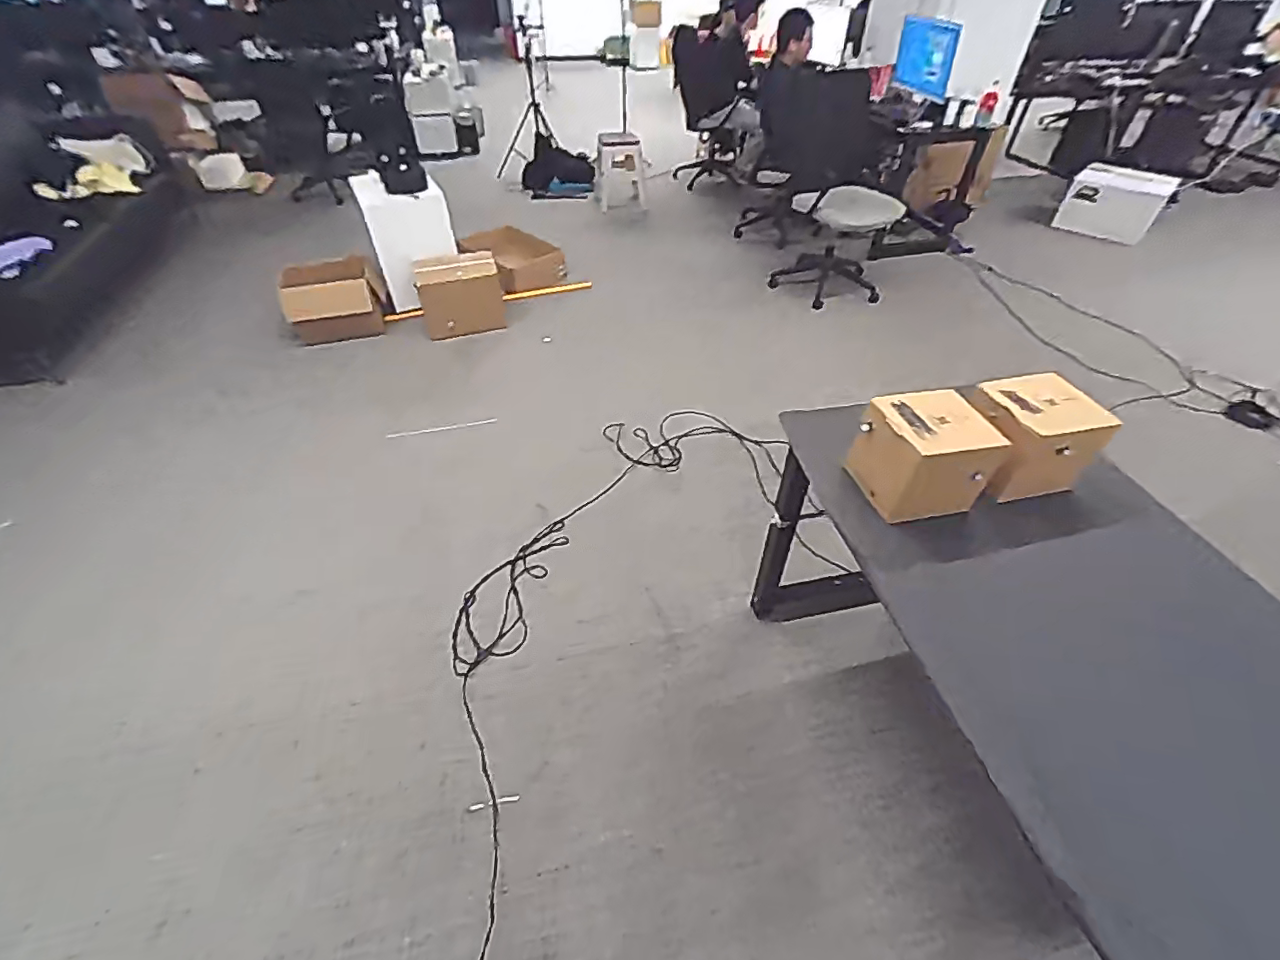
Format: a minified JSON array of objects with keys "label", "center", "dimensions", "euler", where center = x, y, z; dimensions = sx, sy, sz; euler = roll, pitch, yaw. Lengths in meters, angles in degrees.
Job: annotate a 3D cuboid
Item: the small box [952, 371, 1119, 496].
[{"label":"small box","center":[0.738,-0.087,1.042],"dimensions":[0.179,0.176,0.168],"euler":[-9,46,-10]}]
